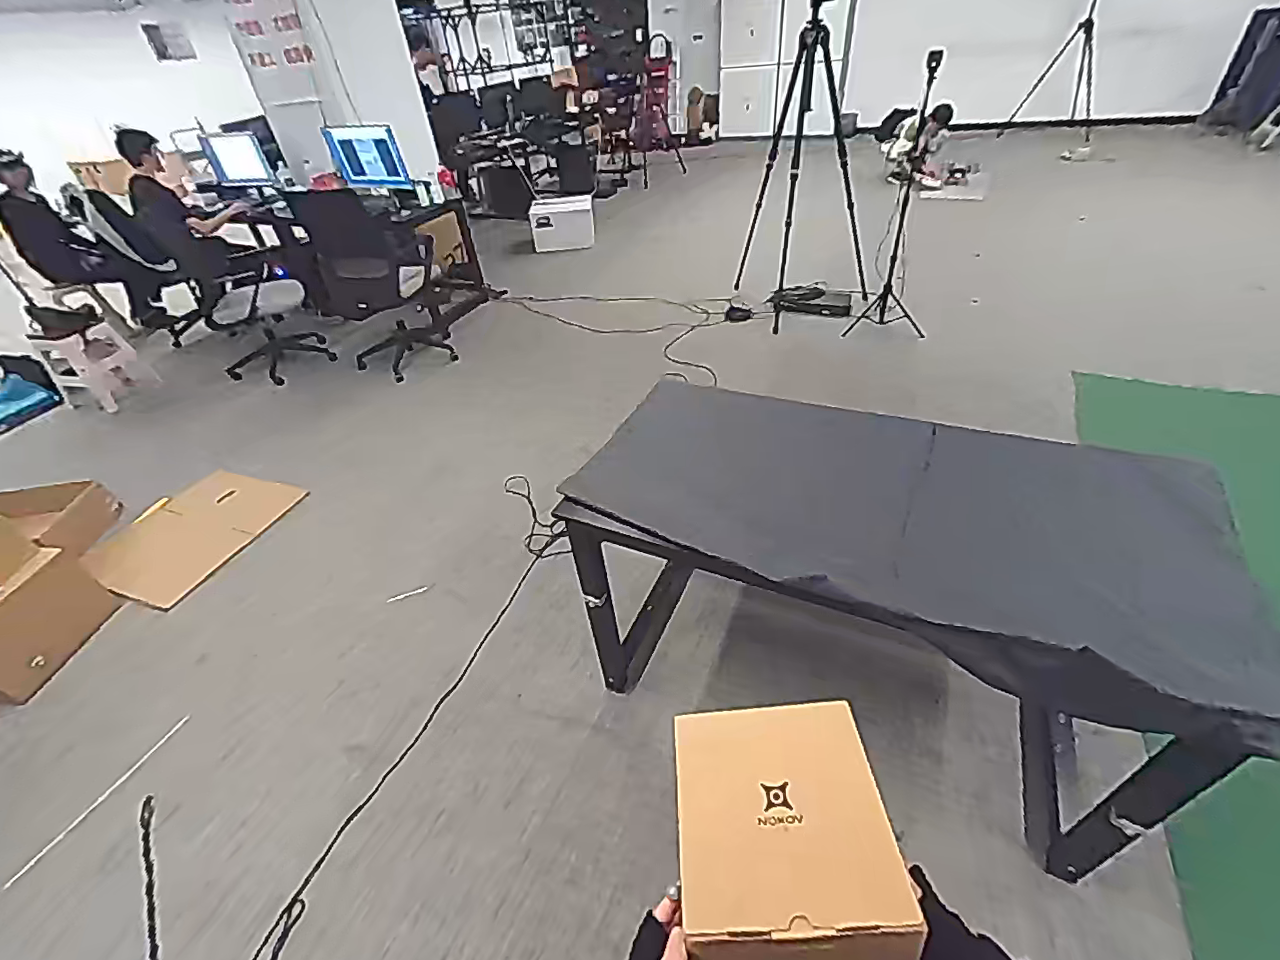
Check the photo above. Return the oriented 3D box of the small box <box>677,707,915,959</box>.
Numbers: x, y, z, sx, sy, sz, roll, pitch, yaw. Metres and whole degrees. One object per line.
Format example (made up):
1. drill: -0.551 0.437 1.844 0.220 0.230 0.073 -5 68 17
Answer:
1. small box: 0.124 0.339 0.496 0.168 0.176 0.179 -7 33 6
